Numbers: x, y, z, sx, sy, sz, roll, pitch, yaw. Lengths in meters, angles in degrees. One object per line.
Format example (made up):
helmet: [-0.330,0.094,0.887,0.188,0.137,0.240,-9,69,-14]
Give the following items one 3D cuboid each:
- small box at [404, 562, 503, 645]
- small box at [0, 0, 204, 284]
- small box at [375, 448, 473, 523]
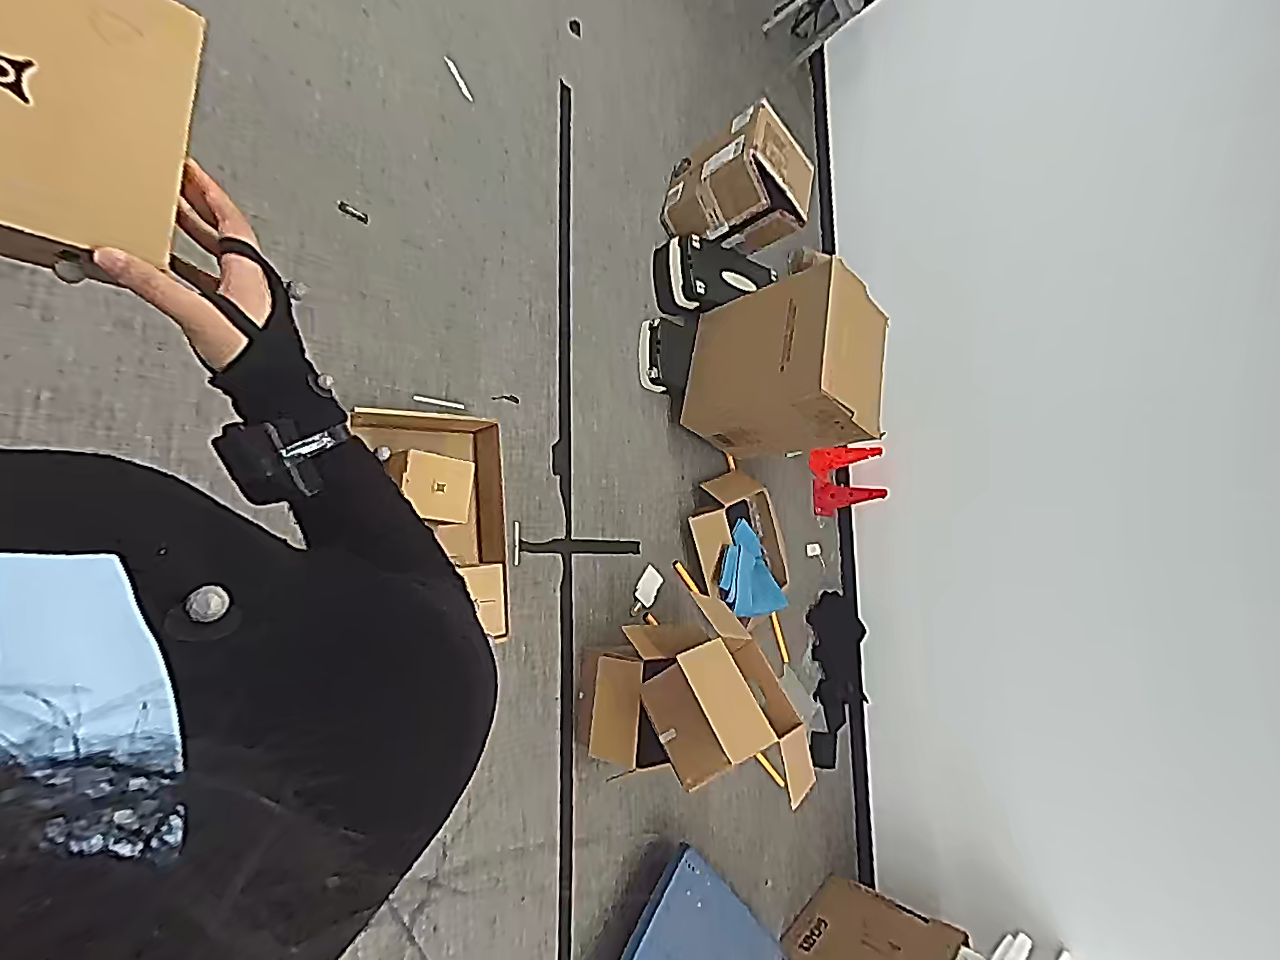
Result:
small box: [-0.441,0.281,1.265,0.179,0.176,0.168,1,84,-44]
small box: [-0.409,-0.236,0.343,0.179,0.176,0.168,9,92,-45]
small box: [-0.564,0.020,1.413,0.179,0.176,0.168,14,76,-41]
